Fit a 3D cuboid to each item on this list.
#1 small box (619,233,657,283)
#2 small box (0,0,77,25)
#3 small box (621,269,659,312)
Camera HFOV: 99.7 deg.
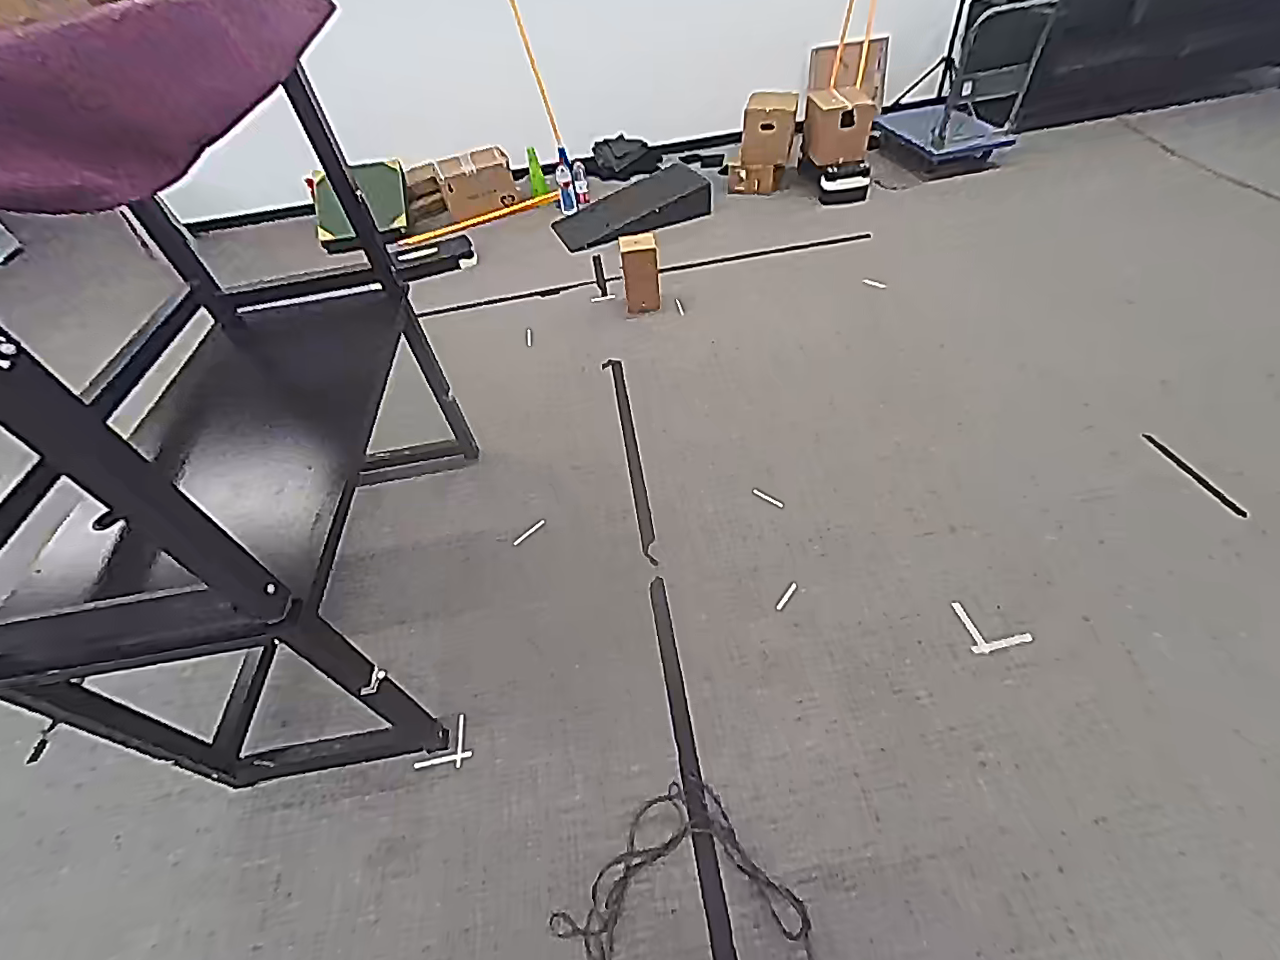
[{"bbox_3d":[-0.008,-1.108,2.703,0.179,0.176,0.168,-7,47,2],"label":"small box"},{"bbox_3d":[-0.959,-0.734,0.742,0.179,0.176,0.168,-14,48,-4],"label":"small box"},{"bbox_3d":[0.002,-1.000,2.826,0.179,0.176,0.168,-8,48,-2],"label":"small box"}]
